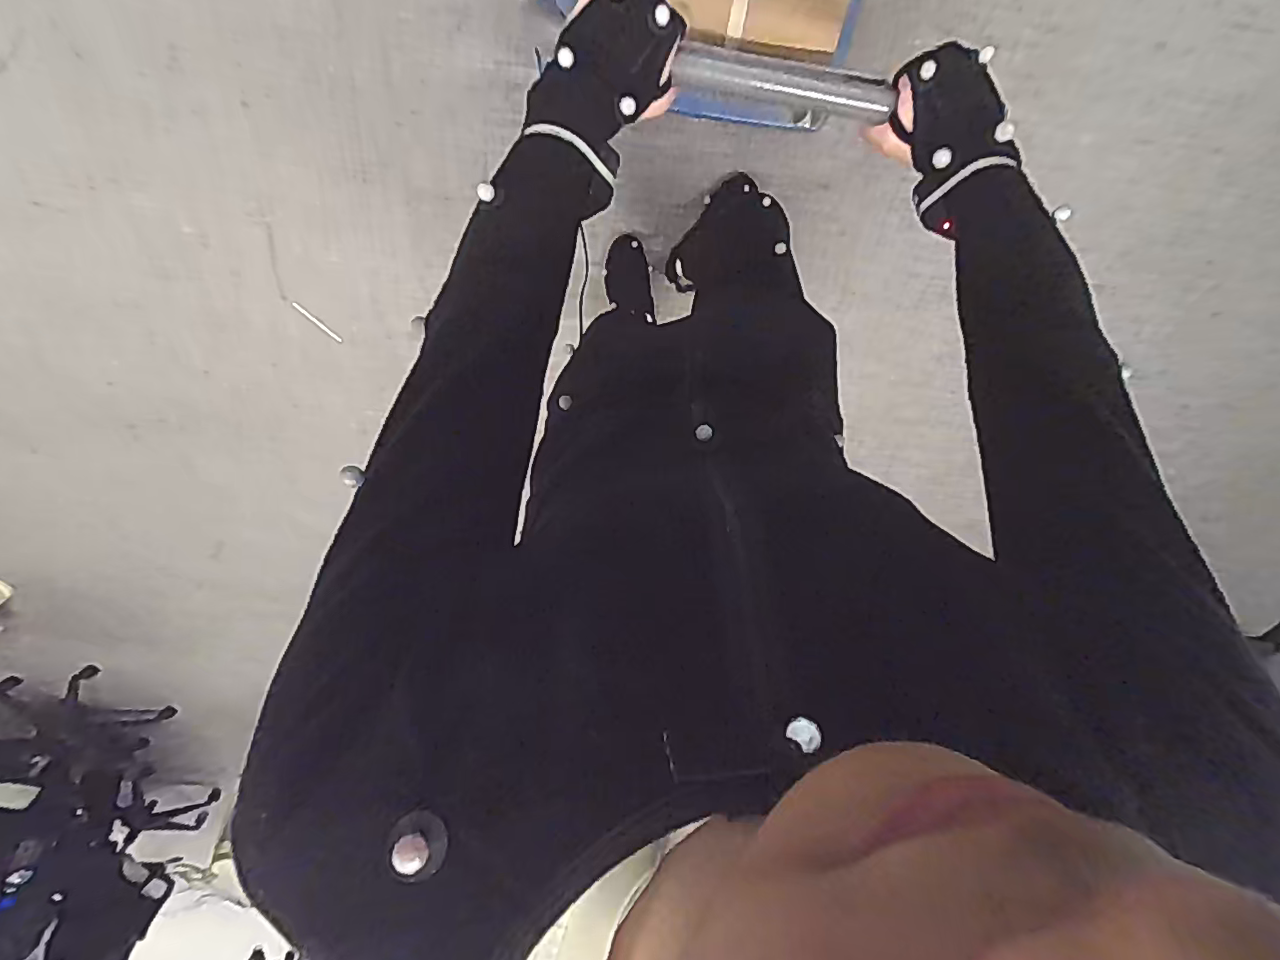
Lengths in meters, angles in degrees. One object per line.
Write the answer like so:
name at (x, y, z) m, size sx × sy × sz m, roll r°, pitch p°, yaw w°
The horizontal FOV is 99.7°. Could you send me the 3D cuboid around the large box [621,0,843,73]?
large box at (0.145, -0.869, 0.797) m, size 0.320 × 0.320 × 0.408 m, roll 5°, pitch 126°, yaw -7°
